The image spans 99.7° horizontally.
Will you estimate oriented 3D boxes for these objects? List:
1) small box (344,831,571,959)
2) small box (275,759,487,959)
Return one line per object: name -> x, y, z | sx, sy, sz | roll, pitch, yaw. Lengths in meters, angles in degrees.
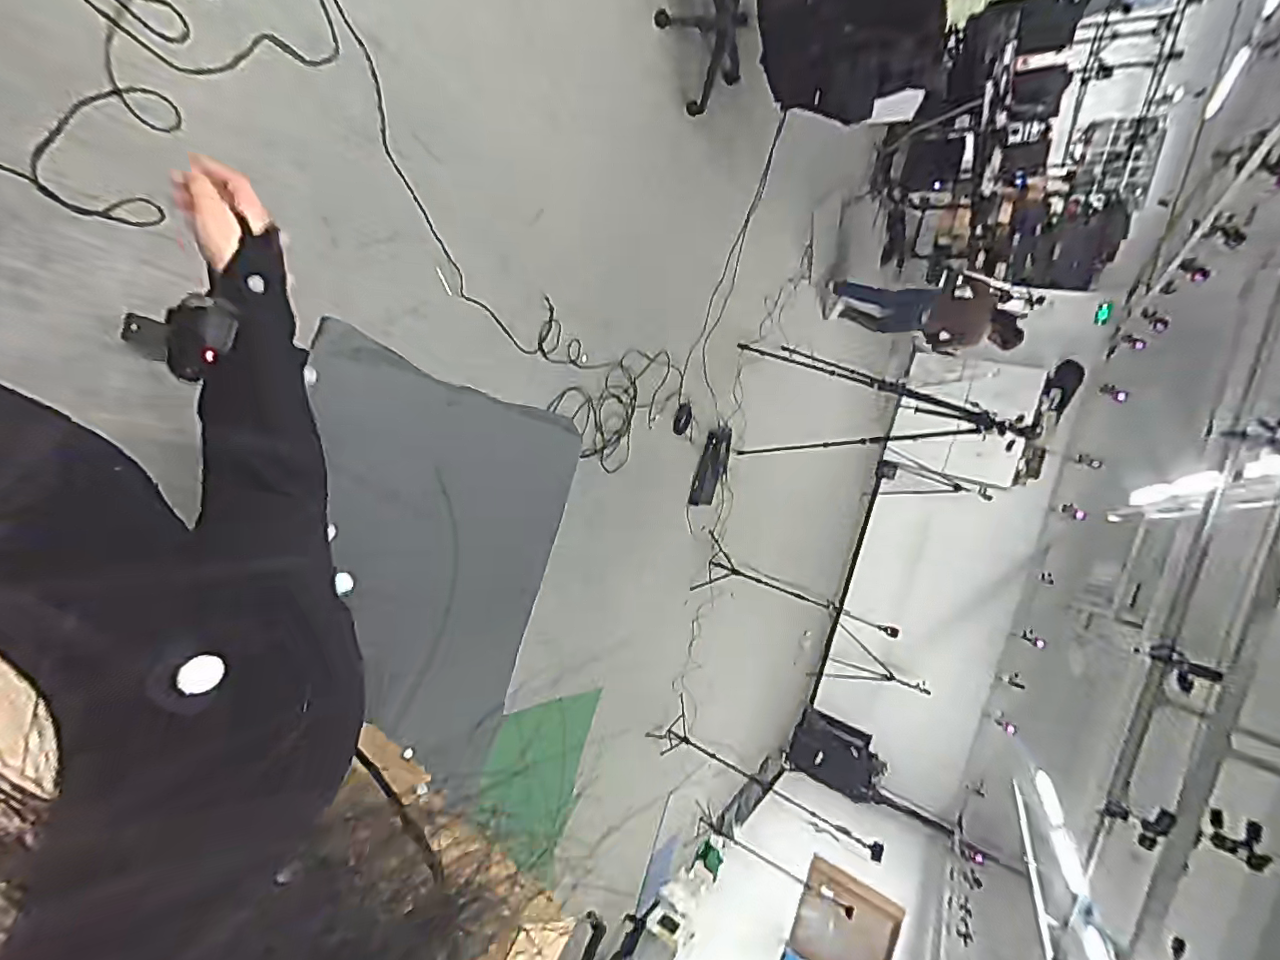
small box -> -0.221, 0.565, 0.660 | 0.179, 0.176, 0.168 | -57, 147, -22
small box -> -0.356, 0.524, 0.743 | 0.179, 0.176, 0.168 | -57, 147, -25
